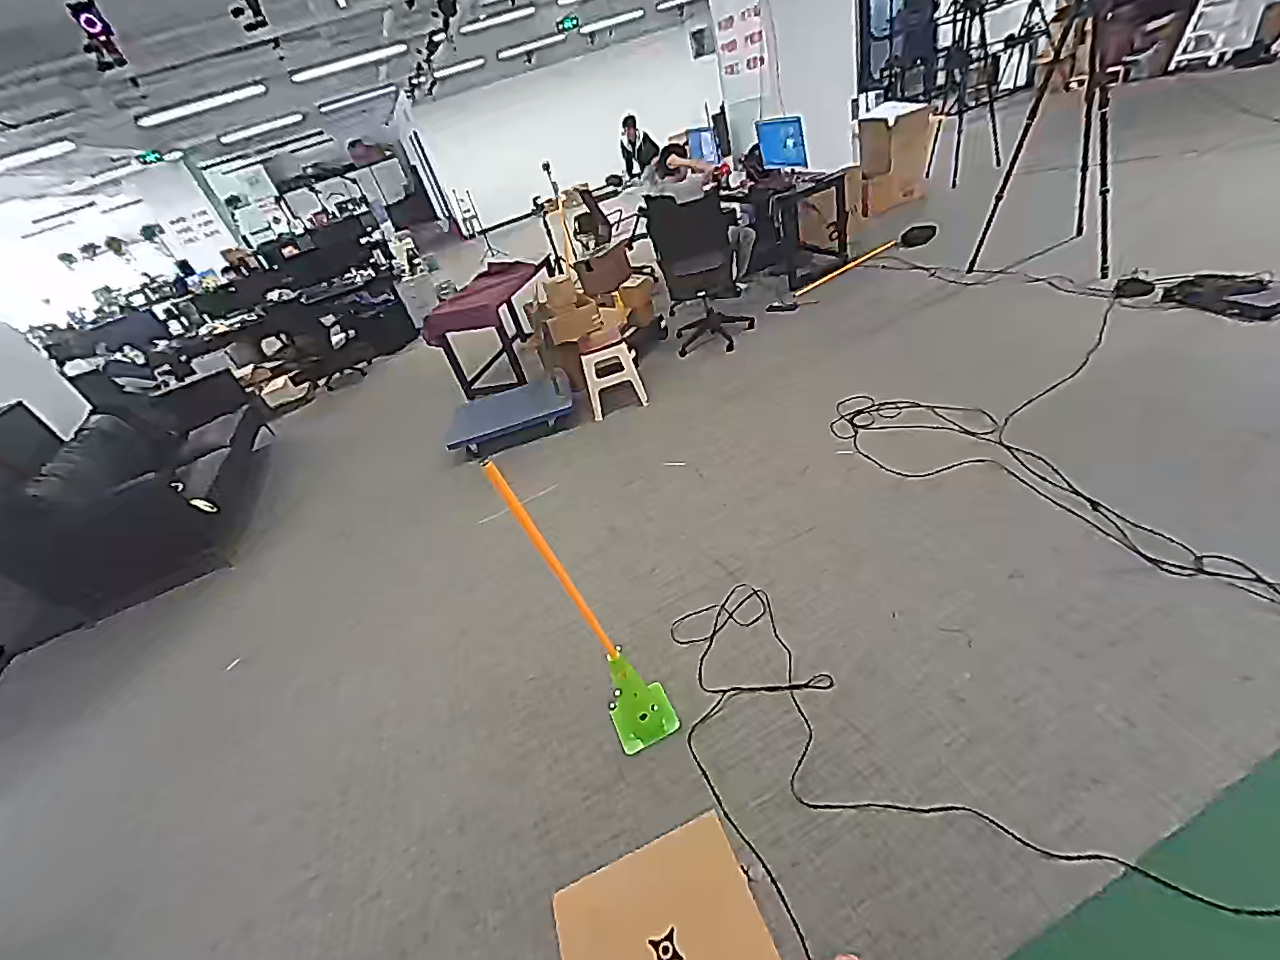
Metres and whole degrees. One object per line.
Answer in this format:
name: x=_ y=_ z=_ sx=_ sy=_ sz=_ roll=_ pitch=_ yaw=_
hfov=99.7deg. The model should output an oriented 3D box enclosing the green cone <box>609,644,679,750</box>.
green cone: x=-0.032 y=0.650 z=1.715 sx=0.202 sy=0.368 sz=0.200 roll=-24 pitch=35 yaw=-10
